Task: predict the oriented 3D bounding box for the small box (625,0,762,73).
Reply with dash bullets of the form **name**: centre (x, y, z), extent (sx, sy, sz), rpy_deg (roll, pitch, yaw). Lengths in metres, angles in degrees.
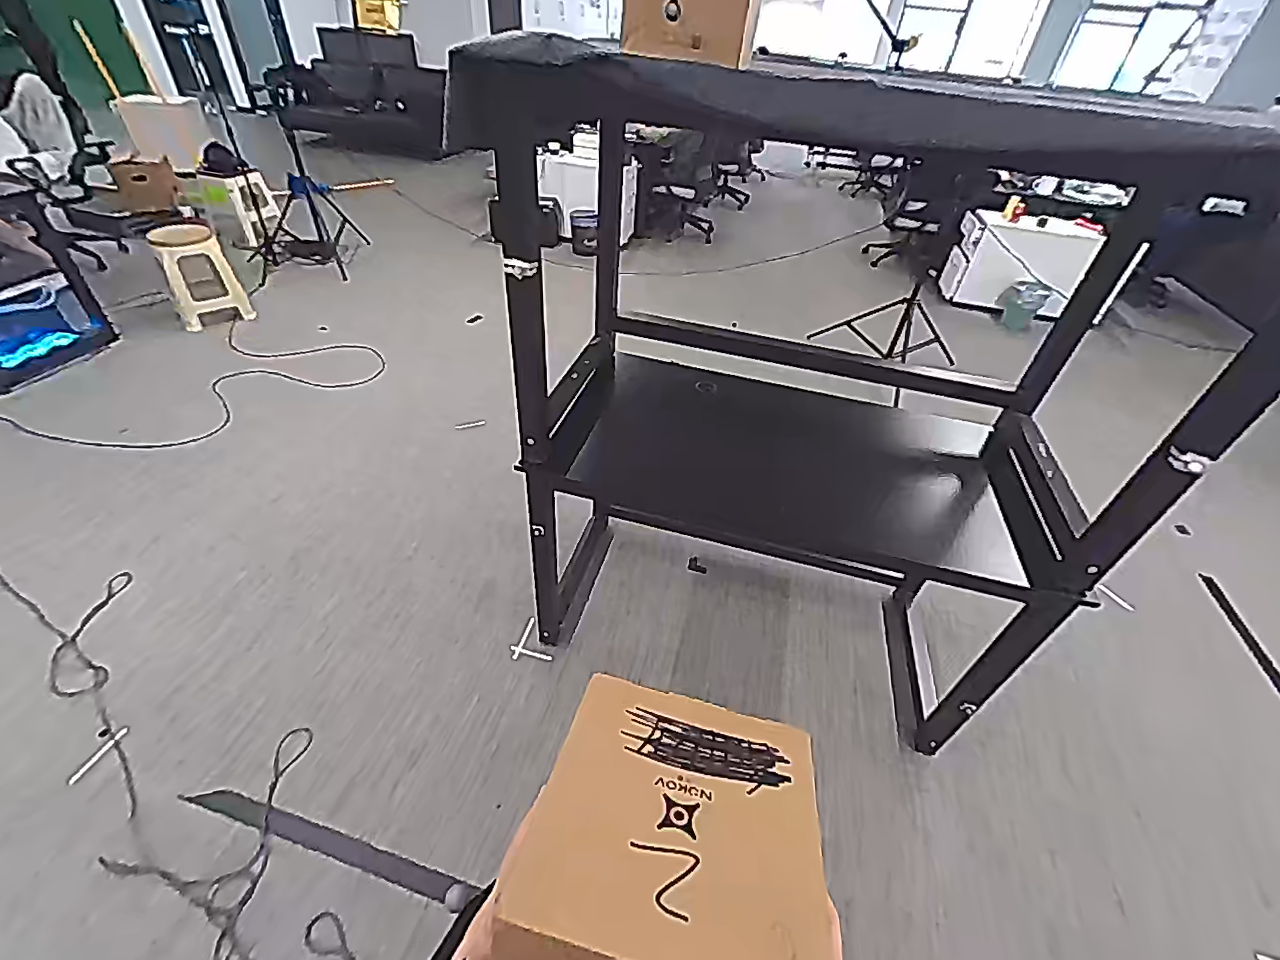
- **small box**: centre (0.081, -0.674, 0.739), extent (0.168, 0.176, 0.179), rpy_deg (13, 40, 7)
